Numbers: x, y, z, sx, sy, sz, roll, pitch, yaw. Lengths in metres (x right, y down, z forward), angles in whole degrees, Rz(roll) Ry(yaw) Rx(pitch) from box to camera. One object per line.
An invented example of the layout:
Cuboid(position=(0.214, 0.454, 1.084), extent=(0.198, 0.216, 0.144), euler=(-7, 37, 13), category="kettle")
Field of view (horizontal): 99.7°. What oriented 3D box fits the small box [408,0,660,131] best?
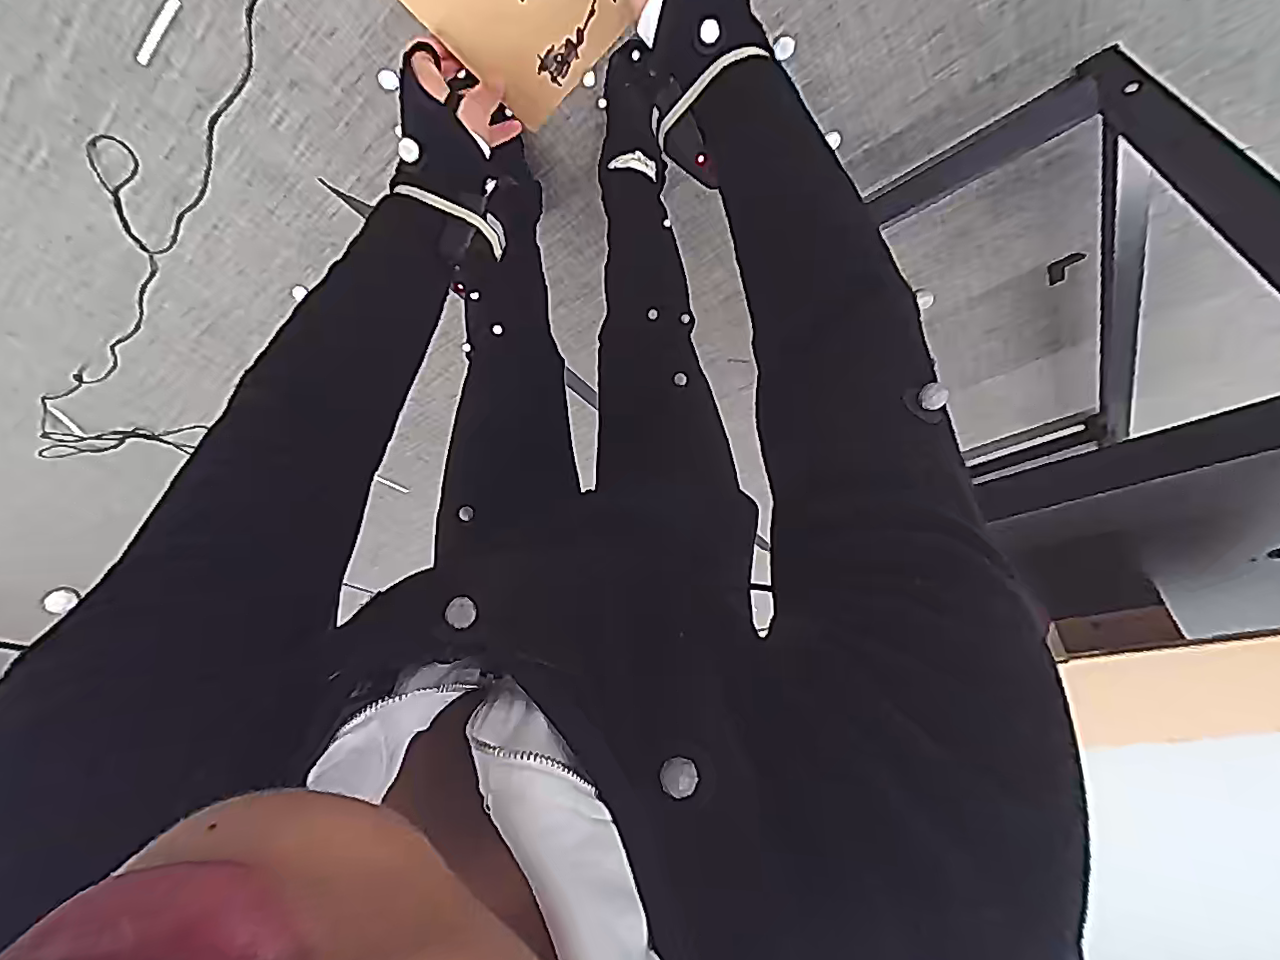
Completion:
Cuboid(position=(-0.092, -0.452, 0.448), extent=(0.168, 0.176, 0.179), euler=(-25, 139, 34), category="small box")
